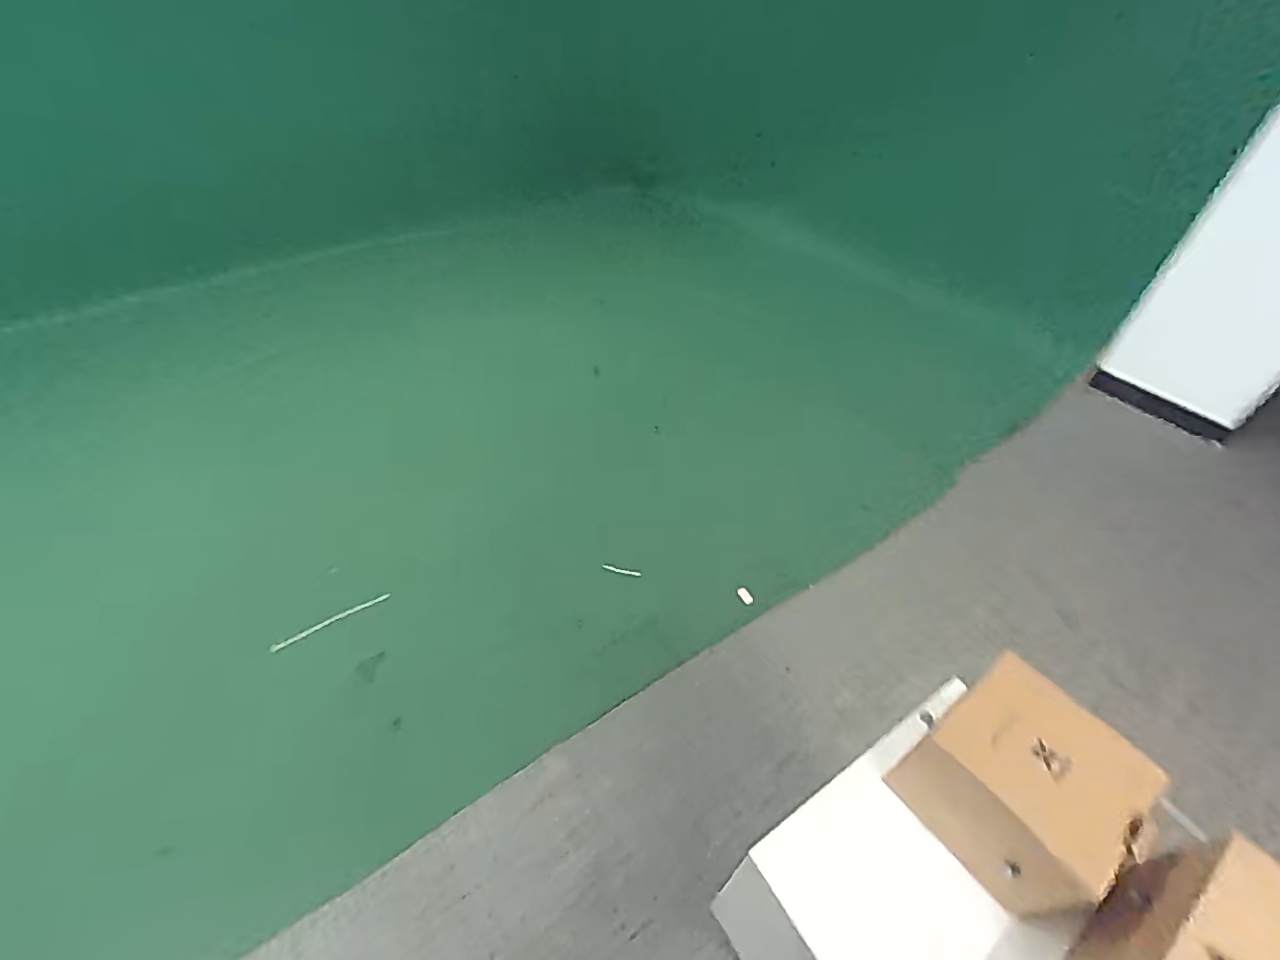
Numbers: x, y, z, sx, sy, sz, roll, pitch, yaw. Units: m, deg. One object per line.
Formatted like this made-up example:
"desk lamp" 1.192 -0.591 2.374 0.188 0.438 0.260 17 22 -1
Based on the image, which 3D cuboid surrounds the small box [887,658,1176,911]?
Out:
"small box" 0.424 0.348 0.616 0.168 0.176 0.179 -28 52 -25
